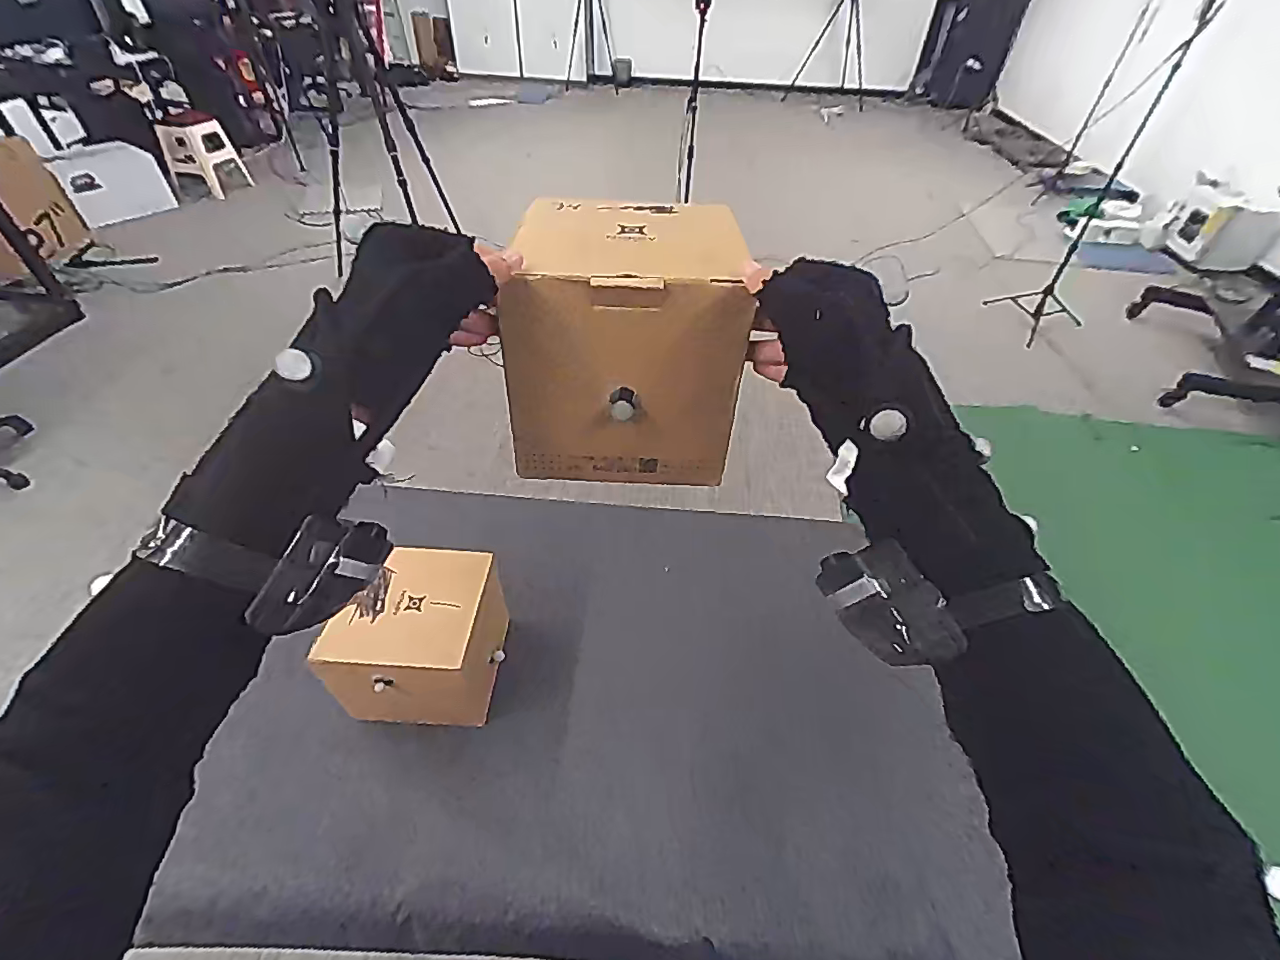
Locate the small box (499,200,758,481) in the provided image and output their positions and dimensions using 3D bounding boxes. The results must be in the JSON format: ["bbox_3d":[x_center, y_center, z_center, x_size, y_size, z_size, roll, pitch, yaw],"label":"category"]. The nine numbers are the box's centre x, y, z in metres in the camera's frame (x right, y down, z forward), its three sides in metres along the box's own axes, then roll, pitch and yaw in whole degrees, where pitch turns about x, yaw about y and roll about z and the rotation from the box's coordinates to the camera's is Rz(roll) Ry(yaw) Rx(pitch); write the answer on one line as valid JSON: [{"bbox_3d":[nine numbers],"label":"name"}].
[{"bbox_3d":[-0.006,-0.115,0.447,0.168,0.176,0.179,3,42,0],"label":"small box"}]

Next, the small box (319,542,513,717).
[{"bbox_3d":[-0.281,0.204,0.728,0.179,0.176,0.168,4,45,0],"label":"small box"}]
